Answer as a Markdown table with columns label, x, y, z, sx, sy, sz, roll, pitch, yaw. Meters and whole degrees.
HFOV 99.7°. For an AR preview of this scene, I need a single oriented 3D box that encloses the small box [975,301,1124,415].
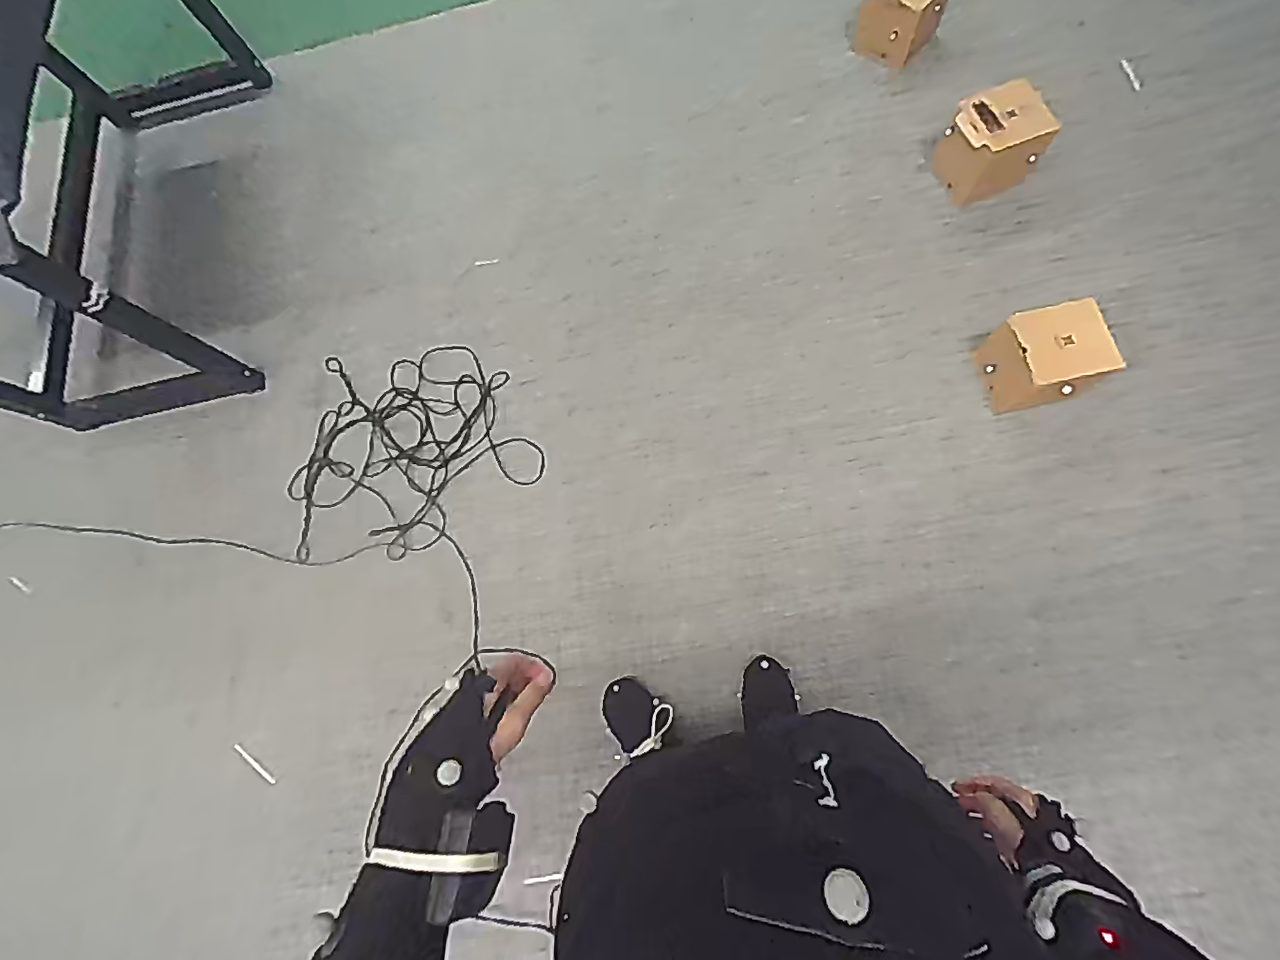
| label | x | y | z | sx | sy | sz | roll | pitch | yaw |
| --- | --- | --- | --- | --- | --- | --- | --- | --- | --- |
| small box | 0.881 | -0.259 | 1.183 | 0.179 | 0.176 | 0.168 | -12 | 75 | 5 |

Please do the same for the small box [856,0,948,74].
| label | x | y | z | sx | sy | sz | roll | pitch | yaw |
| --- | --- | --- | --- | --- | --- | --- | --- | --- | --- |
| small box | 0.713 | -1.260 | 1.465 | 0.168 | 0.176 | 0.179 | 40 | 83 | 14 |
